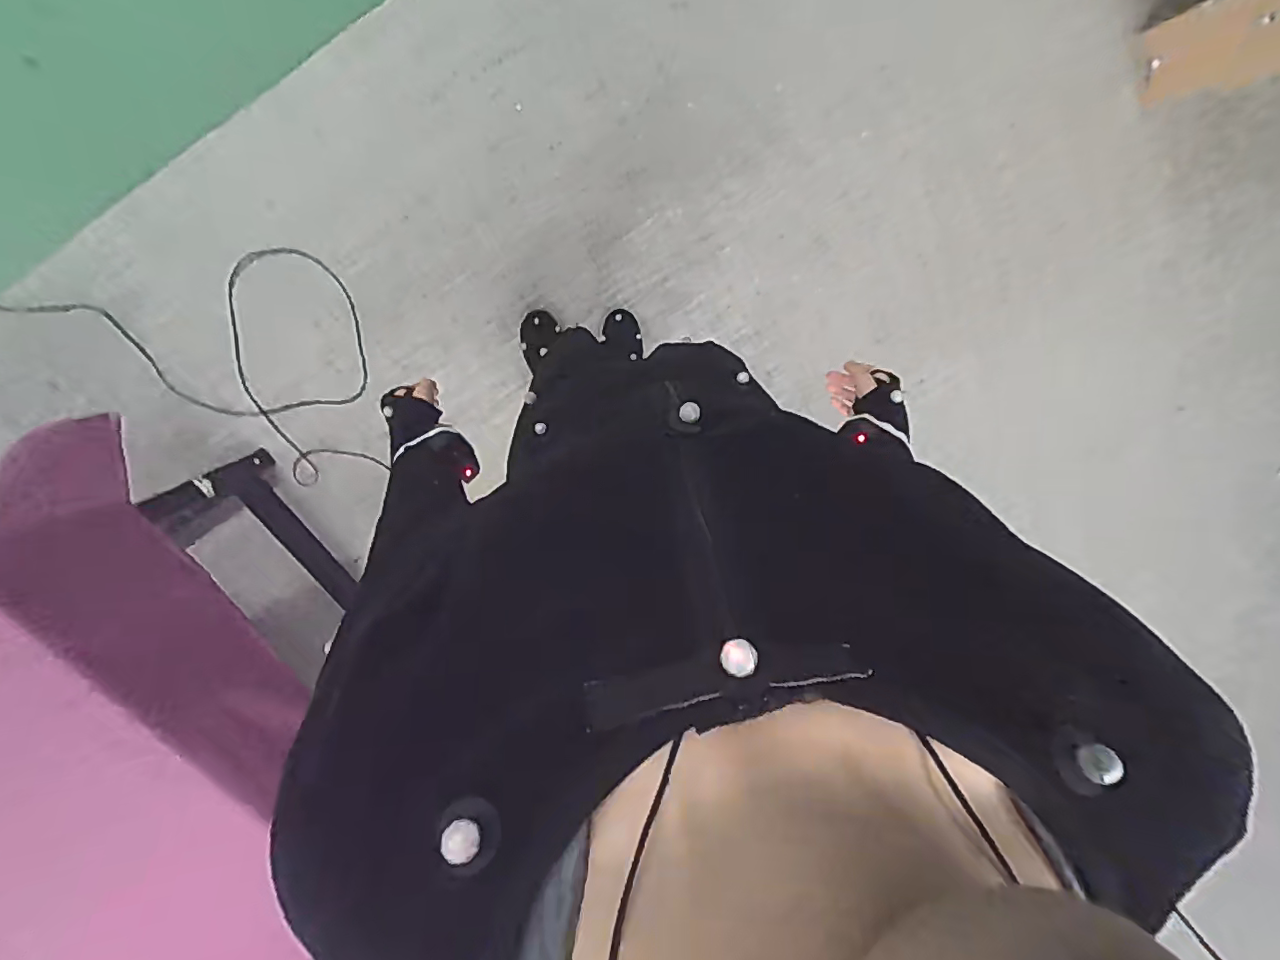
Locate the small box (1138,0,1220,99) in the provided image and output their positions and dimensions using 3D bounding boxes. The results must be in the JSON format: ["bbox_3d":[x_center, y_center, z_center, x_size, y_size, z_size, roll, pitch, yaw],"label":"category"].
[{"bbox_3d":[1.293,-1.010,1.223,0.179,0.176,0.168,-22,107,4],"label":"small box"}]
